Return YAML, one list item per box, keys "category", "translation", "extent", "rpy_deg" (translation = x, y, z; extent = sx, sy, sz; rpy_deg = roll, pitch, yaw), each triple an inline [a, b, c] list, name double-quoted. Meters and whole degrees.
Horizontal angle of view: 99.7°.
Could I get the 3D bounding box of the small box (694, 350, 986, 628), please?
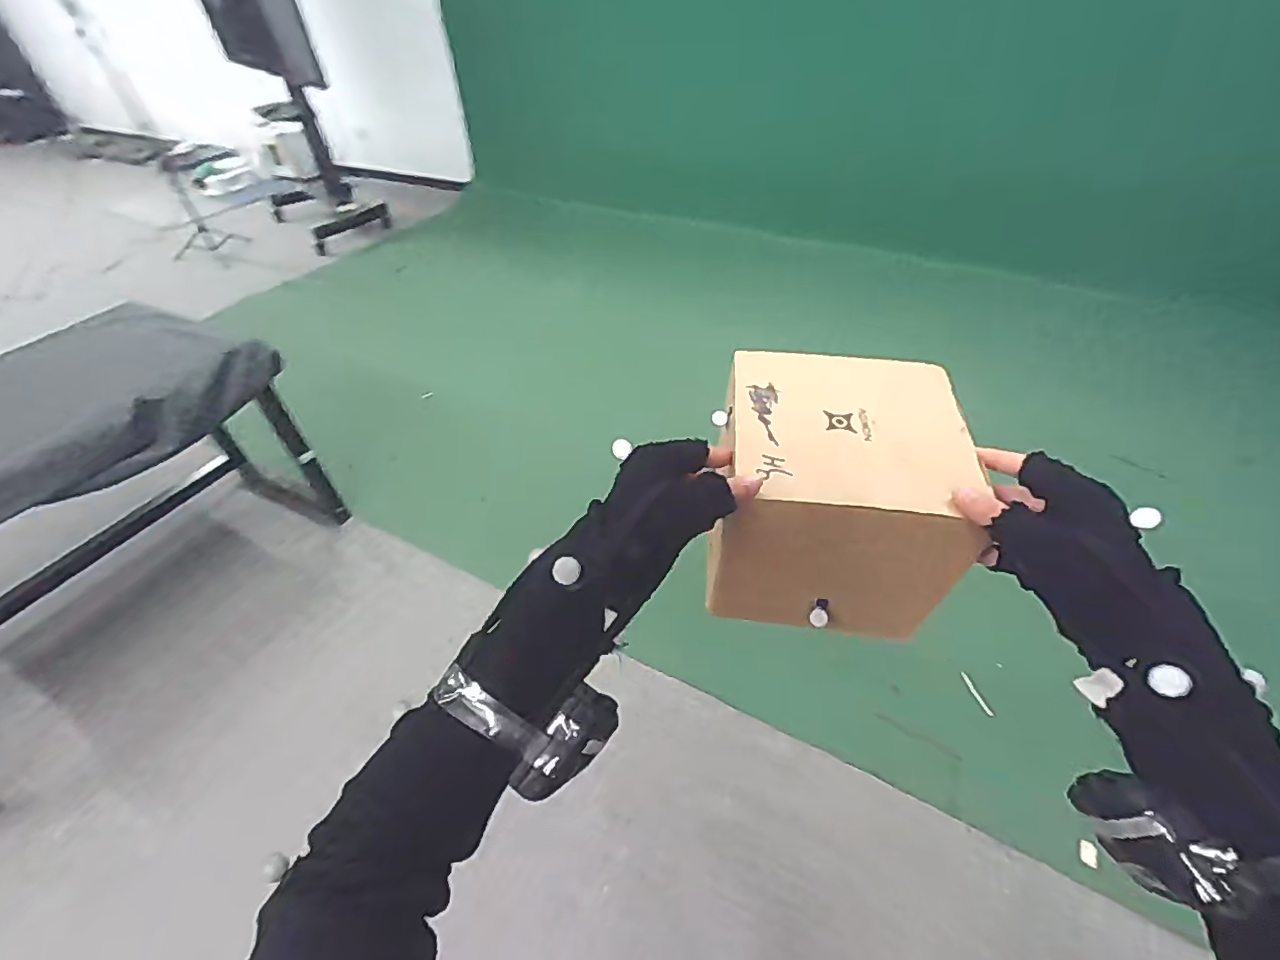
- category: "small box"
  translation: [0.148, 0.012, 0.469]
  extent: [0.179, 0.176, 0.168]
  rpy_deg: [6, 47, 2]
